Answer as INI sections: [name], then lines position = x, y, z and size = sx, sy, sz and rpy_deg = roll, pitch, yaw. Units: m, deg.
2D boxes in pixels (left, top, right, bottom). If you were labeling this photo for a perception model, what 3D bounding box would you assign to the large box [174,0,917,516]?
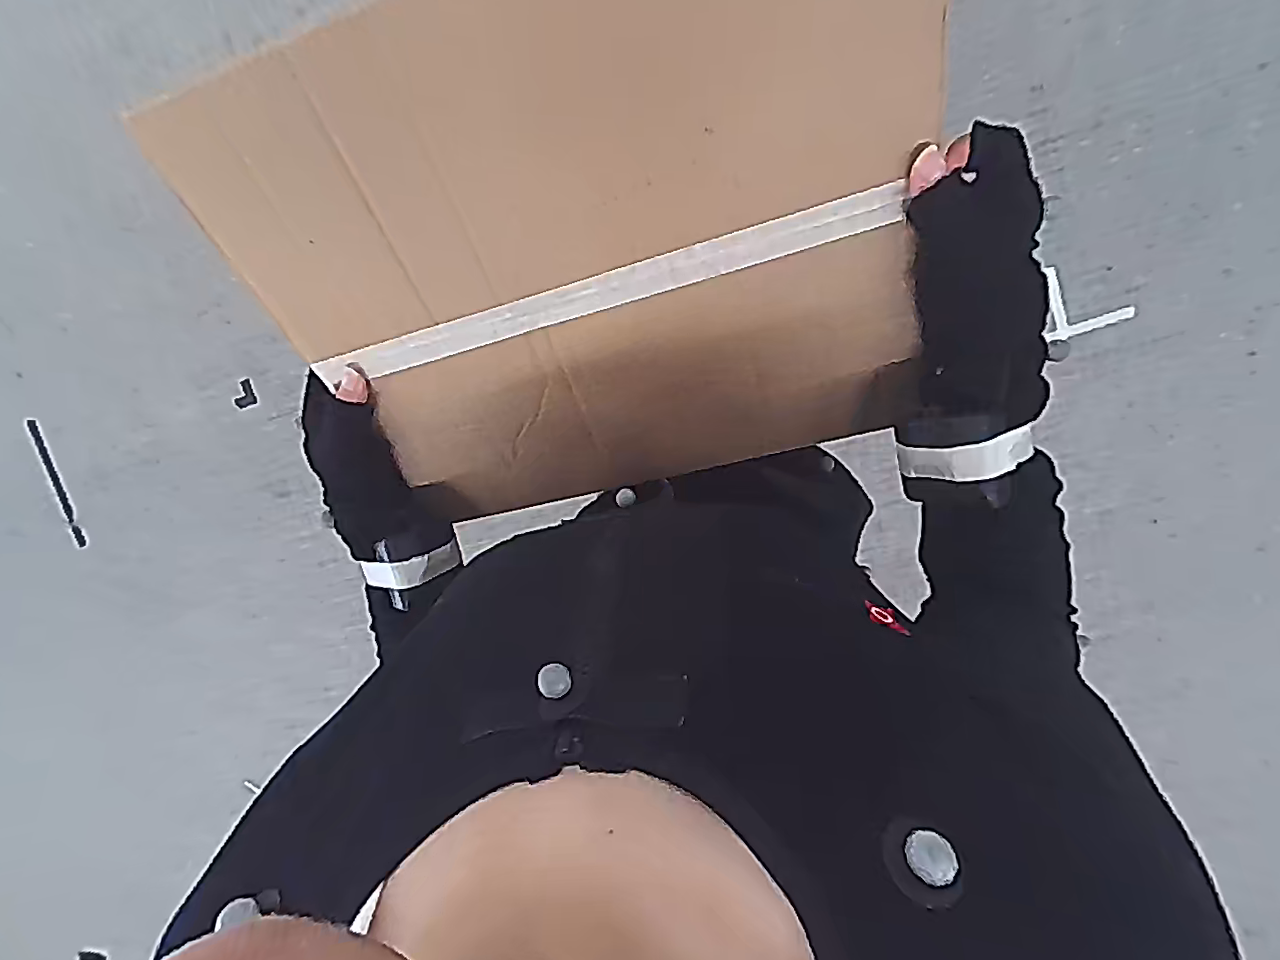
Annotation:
[large box]
position = -0.026, -0.218, 0.462
size = 0.408, 0.320, 0.320
rpy_deg = -13, 129, 13
